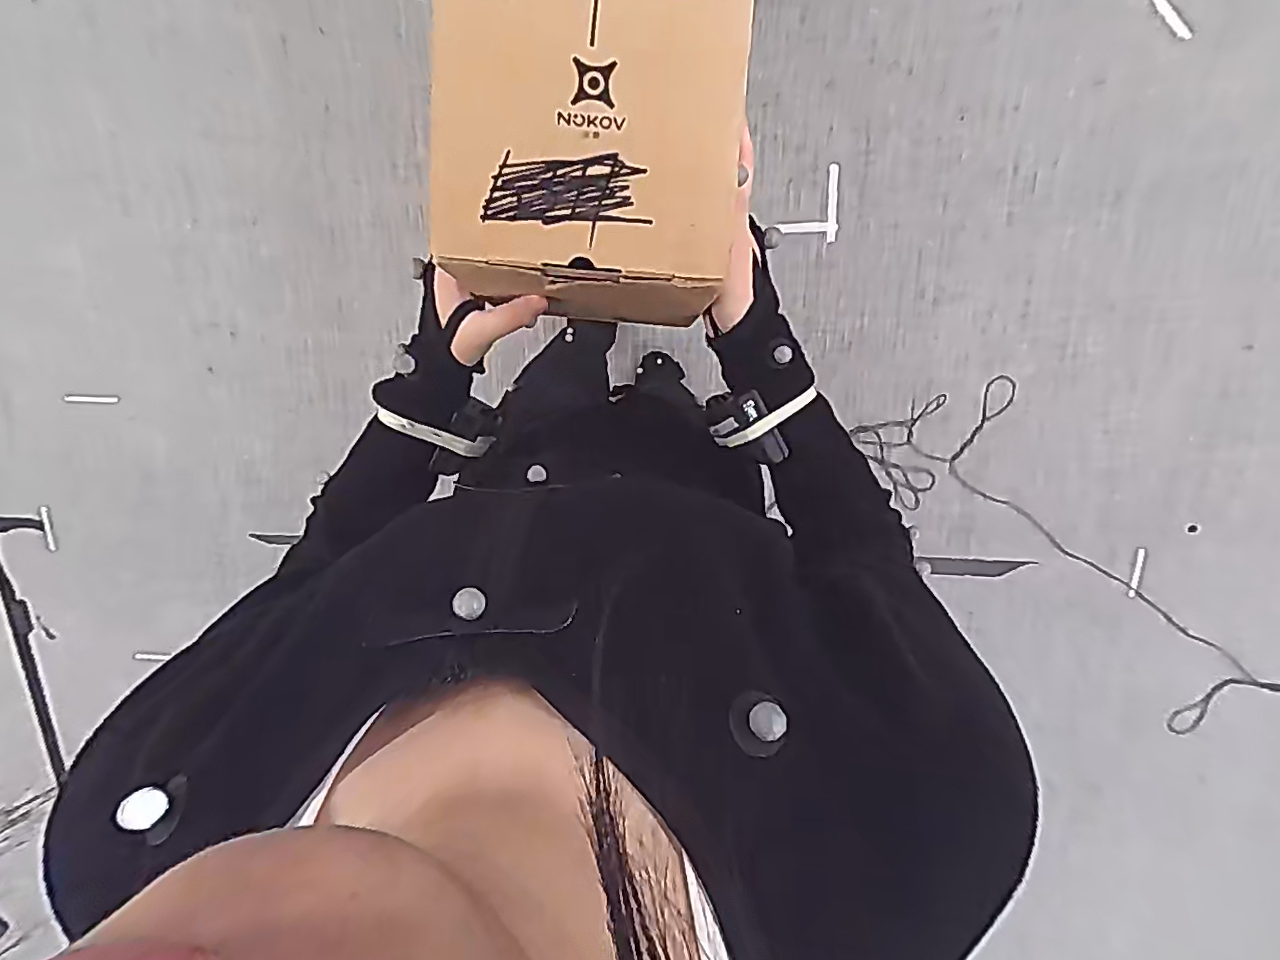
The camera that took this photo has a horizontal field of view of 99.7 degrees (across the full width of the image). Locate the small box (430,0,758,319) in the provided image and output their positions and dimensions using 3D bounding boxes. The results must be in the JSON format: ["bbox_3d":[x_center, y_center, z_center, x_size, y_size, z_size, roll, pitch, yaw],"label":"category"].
[{"bbox_3d":[-0.026,-0.211,0.359,0.168,0.176,0.179,4,97,-3],"label":"small box"}]
